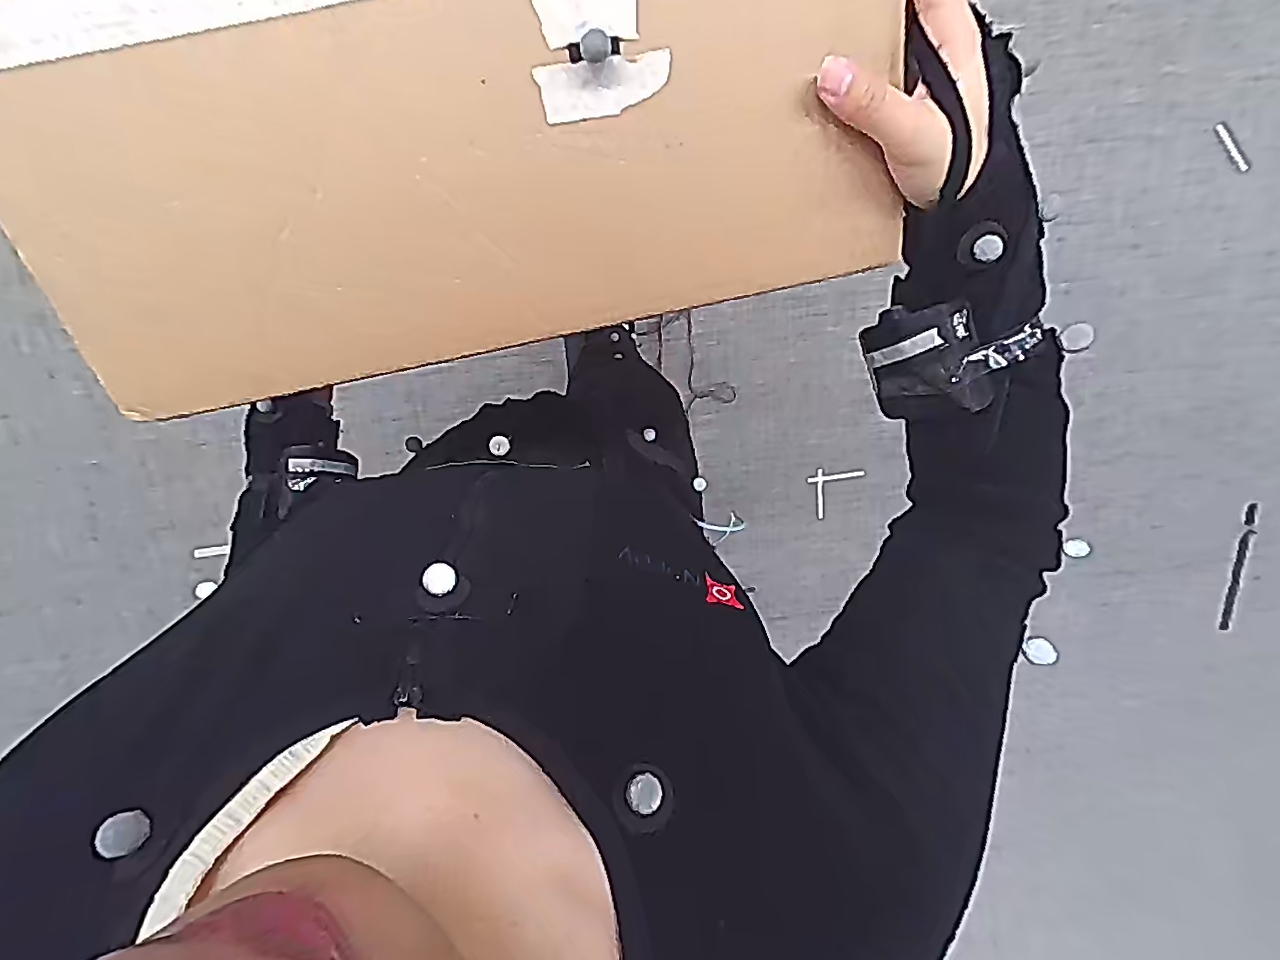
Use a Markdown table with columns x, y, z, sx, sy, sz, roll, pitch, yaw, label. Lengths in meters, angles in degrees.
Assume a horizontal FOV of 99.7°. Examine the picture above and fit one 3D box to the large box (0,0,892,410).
| x | y | z | sx | sy | sz | roll | pitch | yaw | label |
| --- | --- | --- | --- | --- | --- | --- | --- | --- | --- |
| -0.106 | -0.273 | 0.365 | 0.408 | 0.320 | 0.320 | -13 | 114 | -1 | large box |
